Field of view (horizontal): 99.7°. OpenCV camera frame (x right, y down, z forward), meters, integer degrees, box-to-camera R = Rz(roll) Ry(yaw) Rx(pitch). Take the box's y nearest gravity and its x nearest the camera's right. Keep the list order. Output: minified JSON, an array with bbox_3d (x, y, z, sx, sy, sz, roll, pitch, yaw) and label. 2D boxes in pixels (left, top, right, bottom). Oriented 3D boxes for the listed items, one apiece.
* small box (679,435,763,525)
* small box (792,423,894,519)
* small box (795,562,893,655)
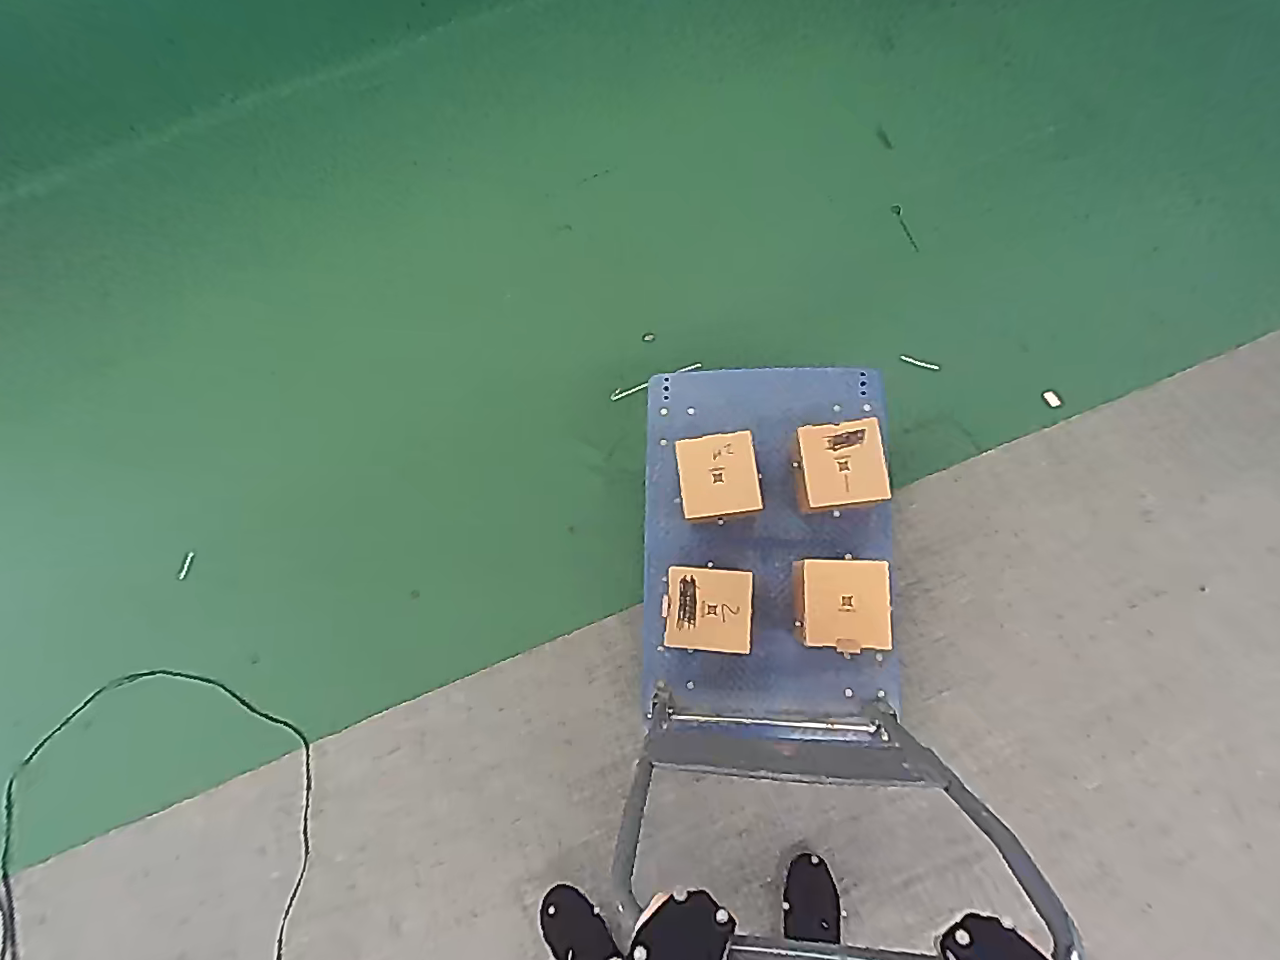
[{"bbox_3d":[0.184,0.008,1.236,0.168,0.176,0.179,-7,79,6],"label":"small box"},{"bbox_3d":[0.442,-0.014,1.206,0.168,0.176,0.179,-6,80,7],"label":"small box"},{"bbox_3d":[0.428,0.269,1.161,0.168,0.176,0.179,1,81,8],"label":"small box"}]
